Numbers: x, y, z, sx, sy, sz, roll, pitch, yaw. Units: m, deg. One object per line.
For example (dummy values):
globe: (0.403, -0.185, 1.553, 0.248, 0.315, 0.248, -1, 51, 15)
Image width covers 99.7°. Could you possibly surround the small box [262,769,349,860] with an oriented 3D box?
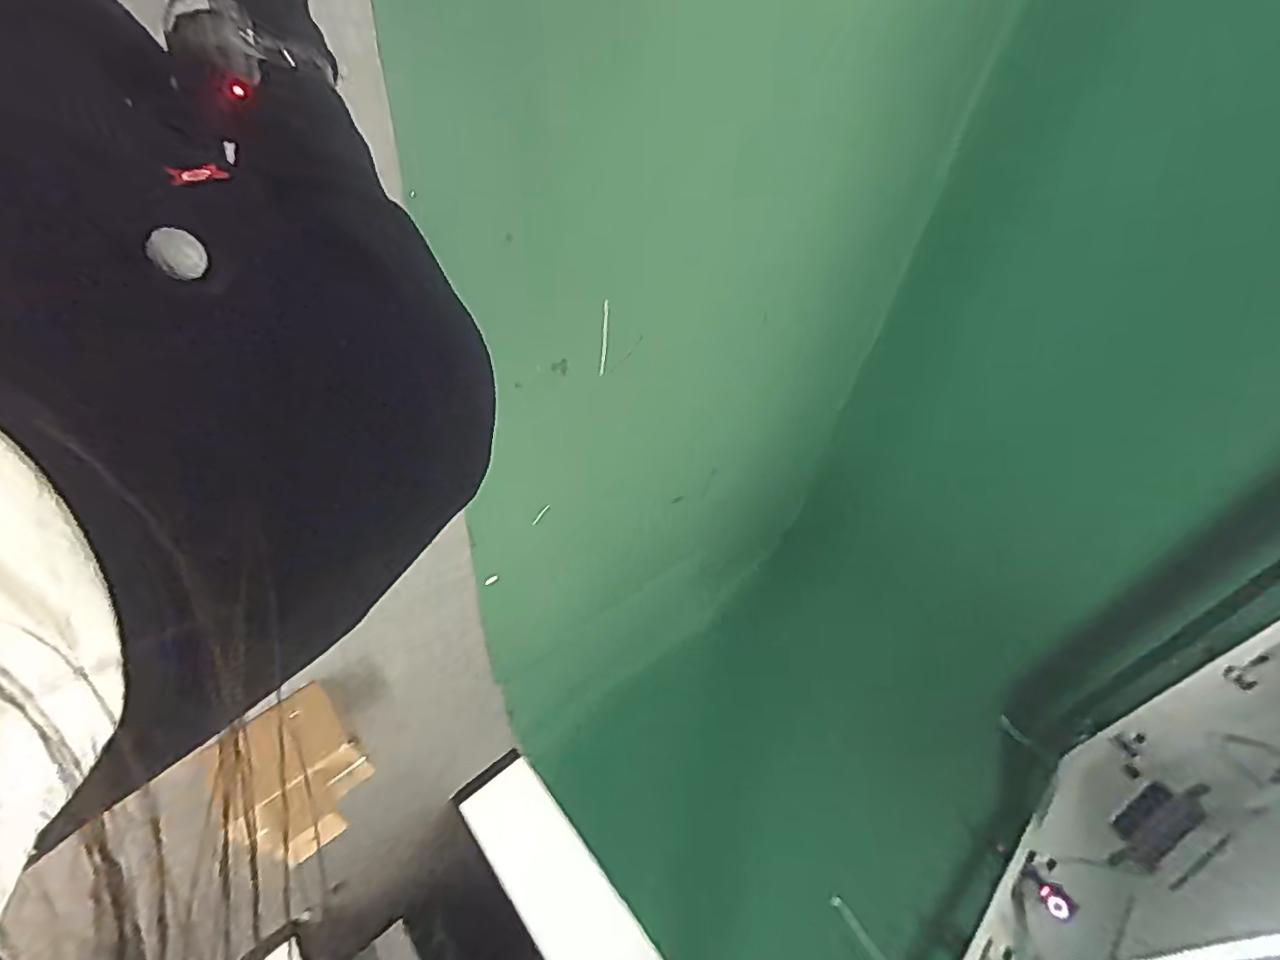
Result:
small box: (-1.117, 1.112, 1.807, 0.179, 0.176, 0.168, -30, 142, -30)
